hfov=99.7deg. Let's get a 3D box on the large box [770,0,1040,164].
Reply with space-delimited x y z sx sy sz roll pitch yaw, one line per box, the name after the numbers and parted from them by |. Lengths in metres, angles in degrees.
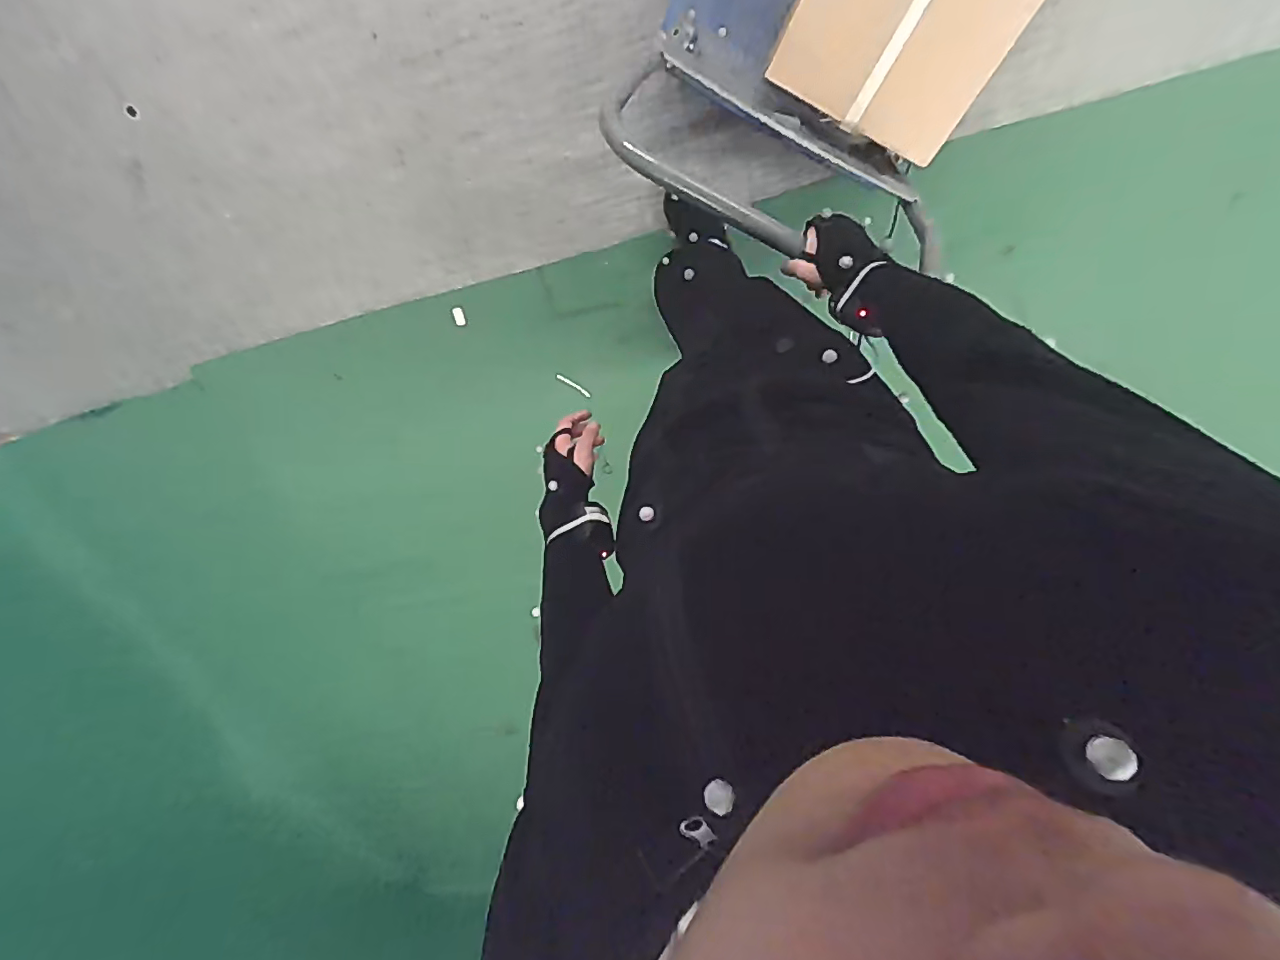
0.447 -0.815 0.887 0.320 0.320 0.408 25 129 -8 | large box
